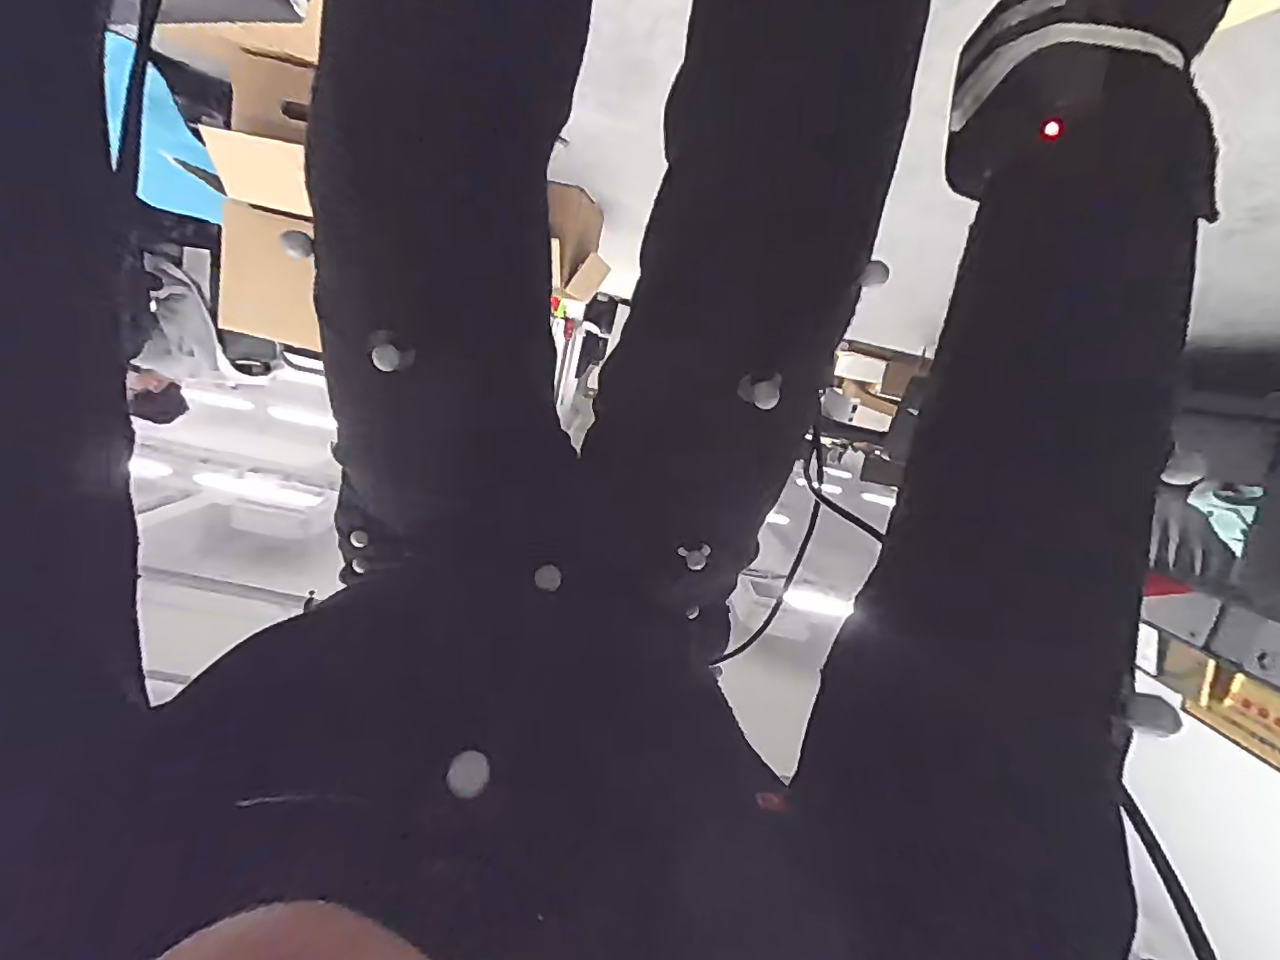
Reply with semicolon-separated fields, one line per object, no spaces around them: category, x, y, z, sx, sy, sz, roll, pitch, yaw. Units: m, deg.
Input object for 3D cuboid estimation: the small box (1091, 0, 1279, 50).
small box;0.351;-0.377;0.272;0.179;0.176;0.168;9;-166;-20
